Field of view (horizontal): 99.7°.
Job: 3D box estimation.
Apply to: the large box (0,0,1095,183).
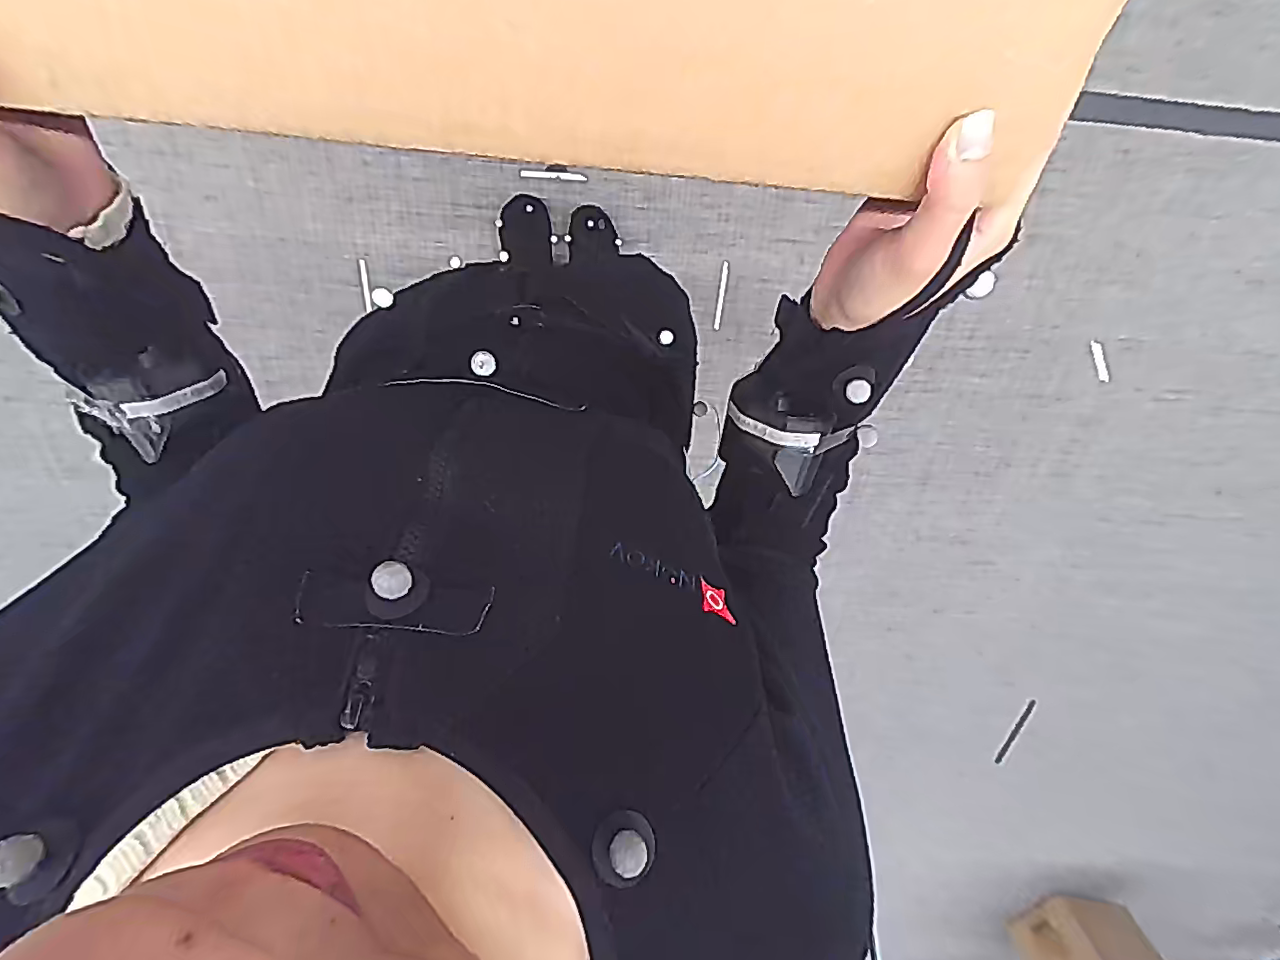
[{"bbox_3d":[-0.042,-0.340,0.196,0.408,0.320,0.320,2,139,-6],"label":"large box"}]
